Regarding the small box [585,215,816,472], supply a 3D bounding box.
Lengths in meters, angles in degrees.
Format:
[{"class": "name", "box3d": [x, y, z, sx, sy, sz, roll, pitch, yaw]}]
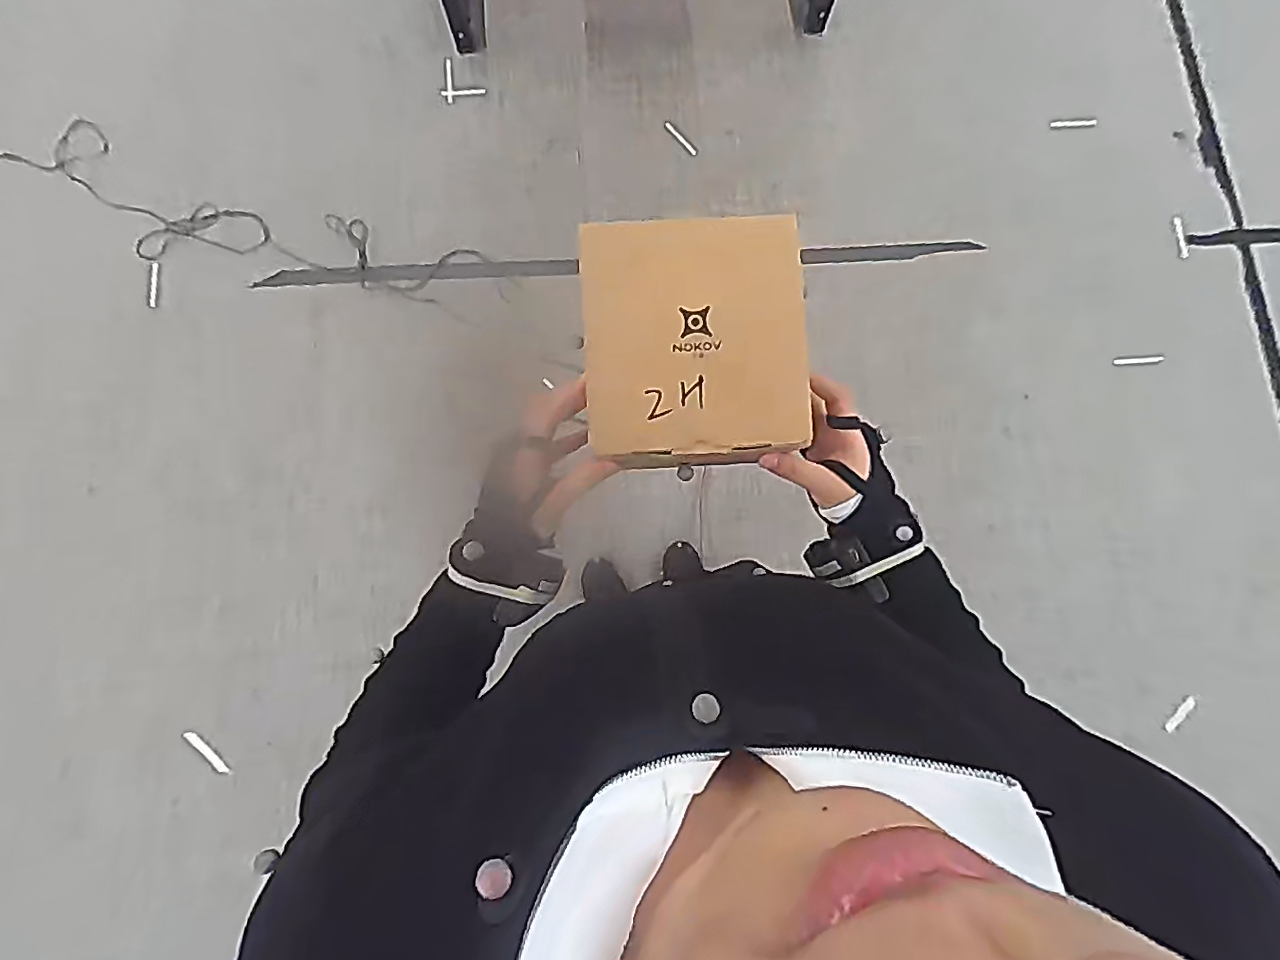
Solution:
[{"class": "small box", "box3d": [0.041, -0.103, 0.474, 0.168, 0.176, 0.179, -3, 87, -1]}]
